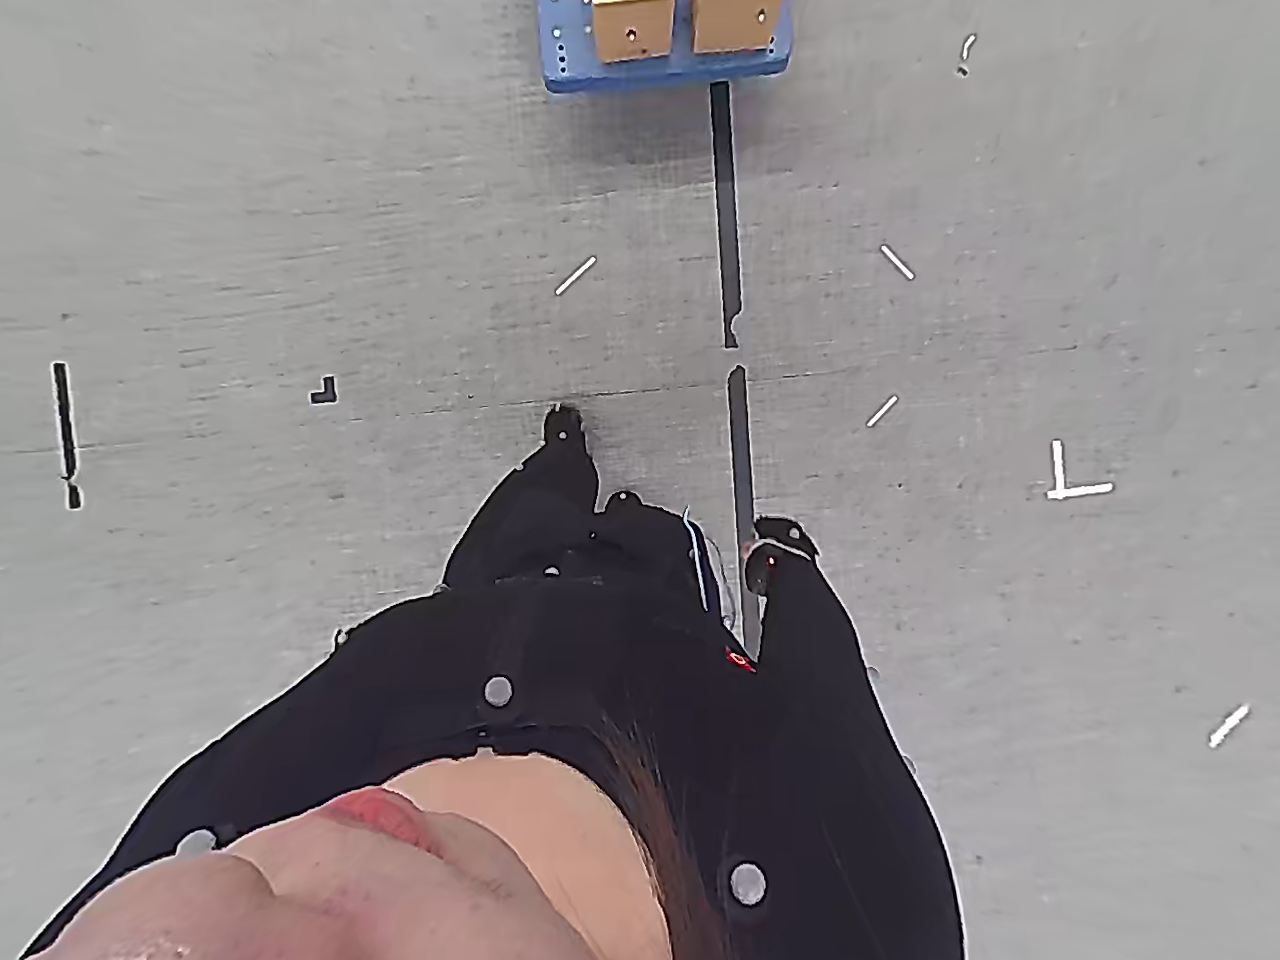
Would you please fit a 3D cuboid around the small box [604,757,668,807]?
[{"bbox_3d":[-0.005,0.882,1.461,0.168,0.176,0.179,-4,93,0],"label":"small box"}]

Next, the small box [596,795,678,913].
[{"bbox_3d":[-0.004,0.888,1.297,0.179,0.176,0.168,-5,94,0],"label":"small box"}]

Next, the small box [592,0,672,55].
[{"bbox_3d":[-0.019,-1.043,1.146,0.168,0.176,0.179,-6,93,1],"label":"small box"}]
